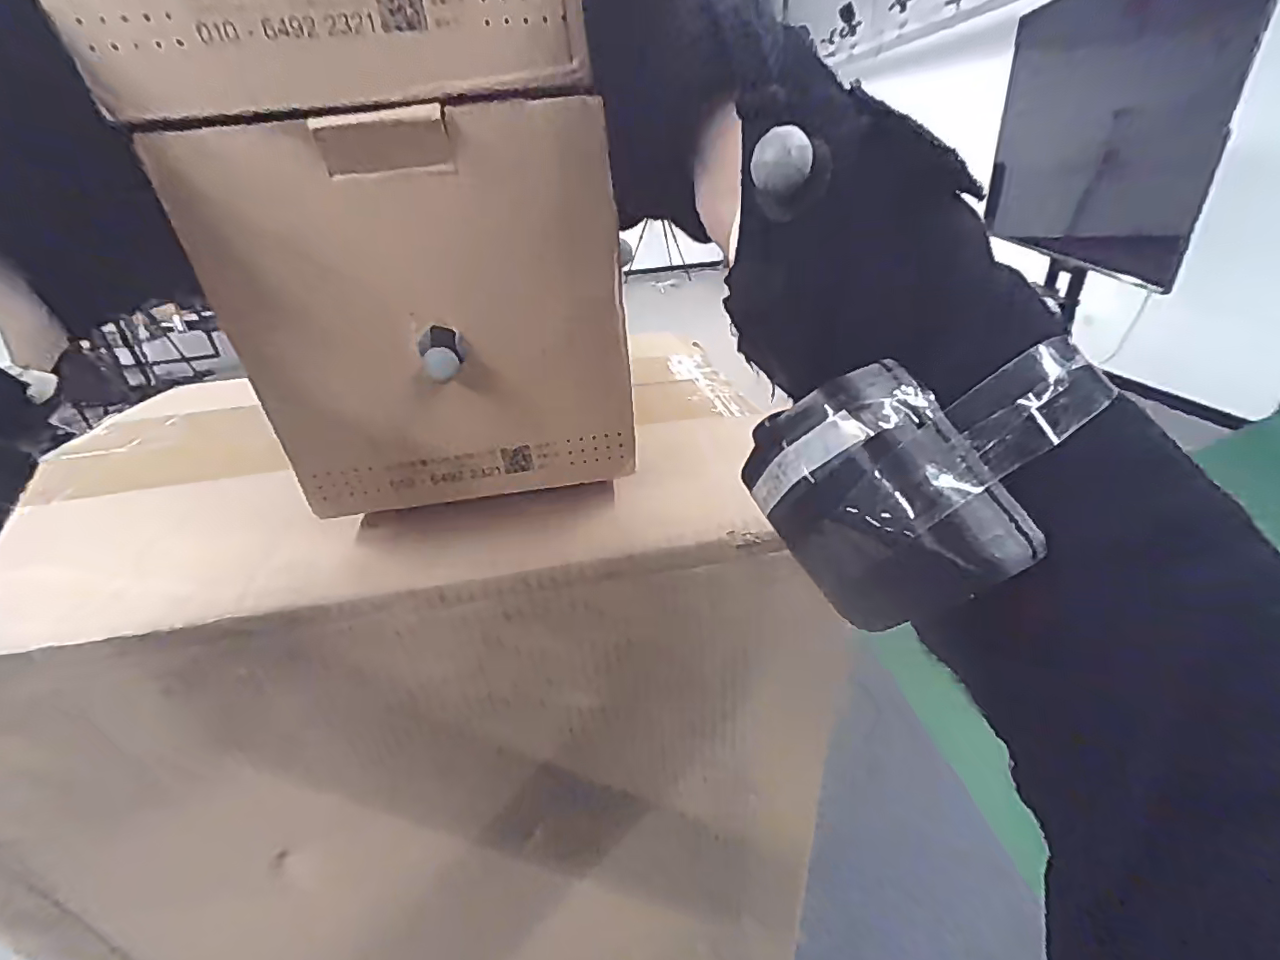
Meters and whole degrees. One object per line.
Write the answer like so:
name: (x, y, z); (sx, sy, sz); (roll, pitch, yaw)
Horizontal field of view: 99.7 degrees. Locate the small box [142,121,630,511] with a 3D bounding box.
small box: (-0.100, -0.094, 0.307); (0.168, 0.176, 0.179); (-7, 33, -5)
